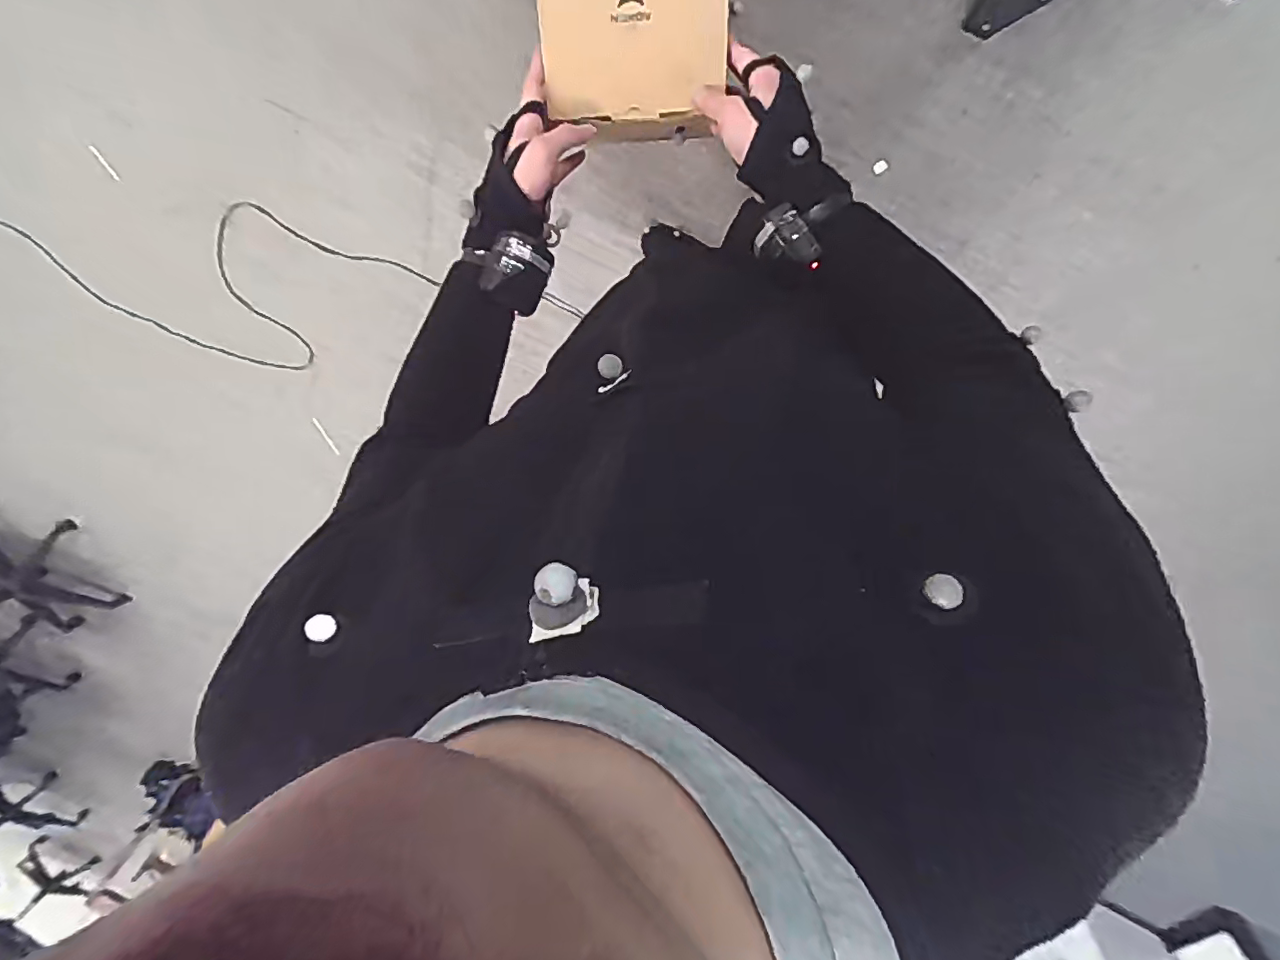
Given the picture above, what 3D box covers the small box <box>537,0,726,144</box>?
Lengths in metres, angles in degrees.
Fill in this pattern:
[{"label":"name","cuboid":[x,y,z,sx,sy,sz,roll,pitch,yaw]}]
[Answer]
[{"label":"small box","cuboid":[0.001,-0.445,0.537,0.168,0.176,0.179,0,115,7]}]
